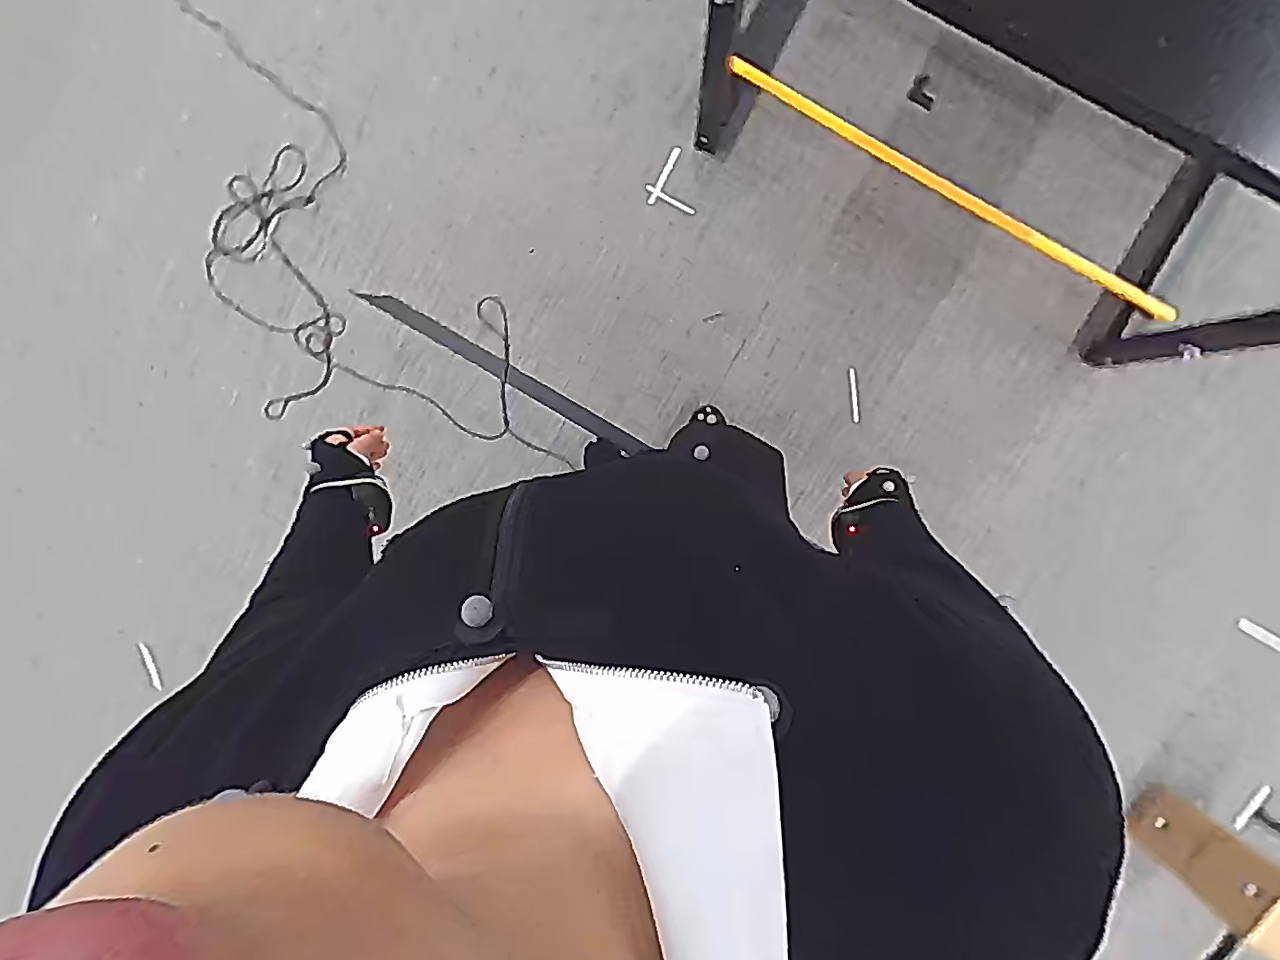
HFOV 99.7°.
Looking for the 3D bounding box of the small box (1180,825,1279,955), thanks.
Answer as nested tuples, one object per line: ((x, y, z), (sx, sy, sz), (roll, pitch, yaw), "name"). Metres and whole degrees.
((1.457, 0.969, 1.277), (0.168, 0.176, 0.179), (29, 98, -1), "small box")

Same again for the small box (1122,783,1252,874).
((1.464, 0.952, 1.442), (0.179, 0.176, 0.168), (31, 98, 0), "small box")
